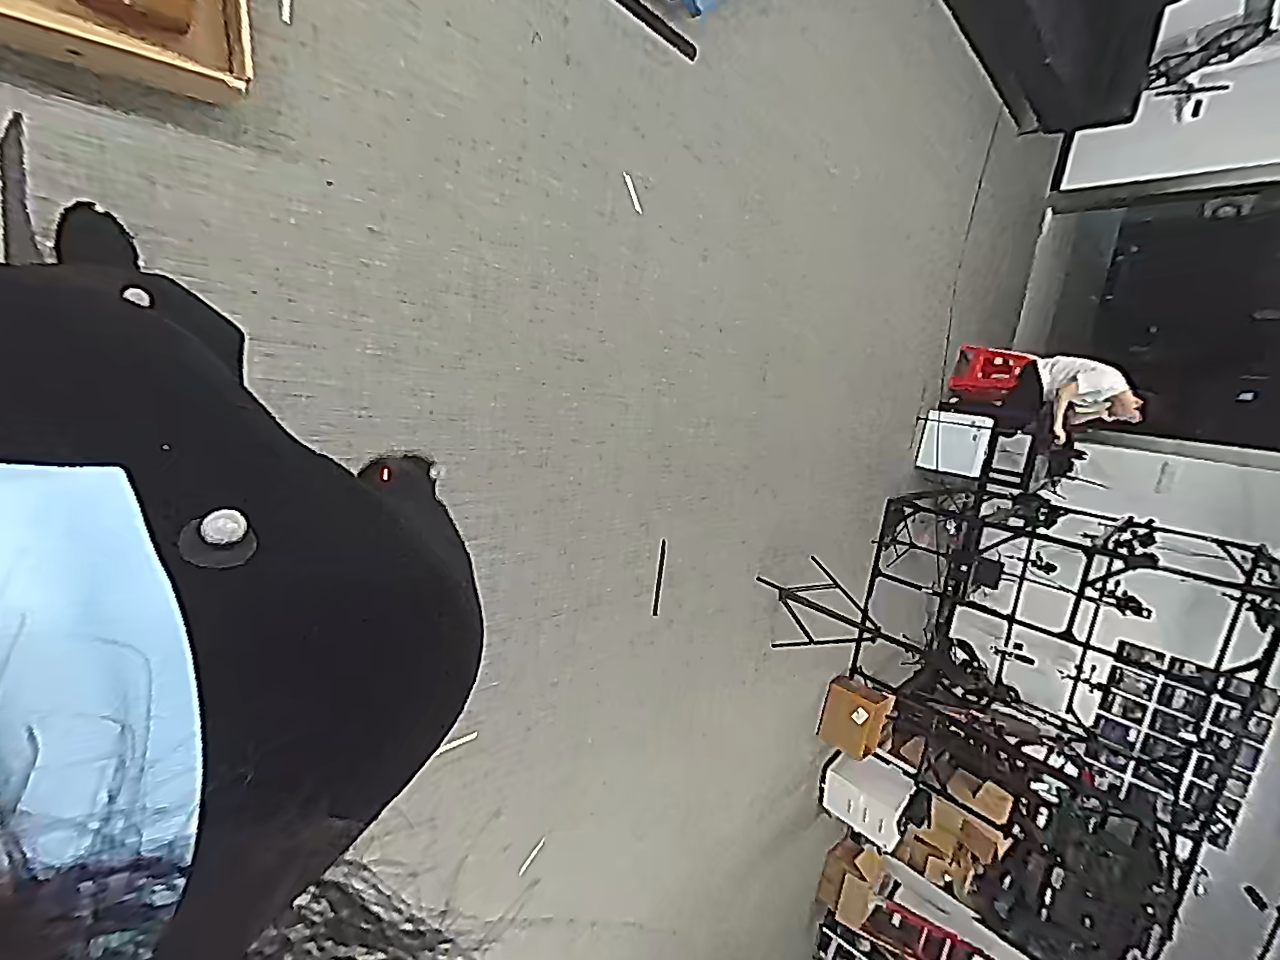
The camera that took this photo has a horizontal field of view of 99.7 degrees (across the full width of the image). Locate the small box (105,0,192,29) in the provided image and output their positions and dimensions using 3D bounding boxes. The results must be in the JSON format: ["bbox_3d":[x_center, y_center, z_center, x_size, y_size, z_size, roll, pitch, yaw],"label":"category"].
[{"bbox_3d":[-0.837,-0.886,0.873,0.168,0.176,0.179,-8,107,-43],"label":"small box"}]
